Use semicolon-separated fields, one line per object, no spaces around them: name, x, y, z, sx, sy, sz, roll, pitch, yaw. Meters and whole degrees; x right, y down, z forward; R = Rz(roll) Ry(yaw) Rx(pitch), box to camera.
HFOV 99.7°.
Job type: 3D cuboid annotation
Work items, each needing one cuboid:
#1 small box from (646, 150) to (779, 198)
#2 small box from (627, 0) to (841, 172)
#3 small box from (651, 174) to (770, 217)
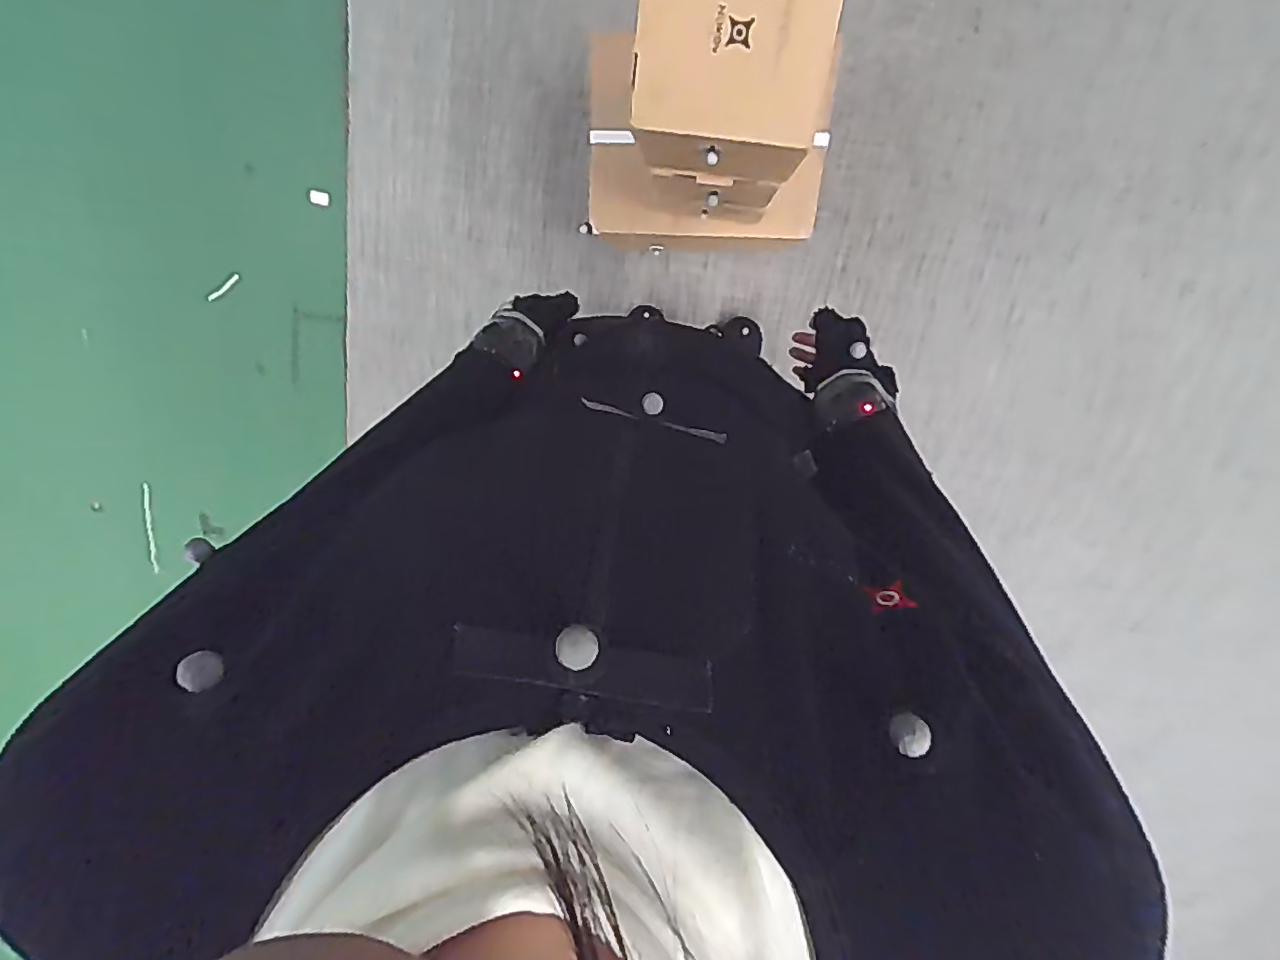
small box;0.107;-0.478;0.701;0.168;0.176;0.179;9;110;4
small box;0.092;-0.426;0.548;0.179;0.176;0.168;9;111;3
small box;0.123;-0.524;0.857;0.179;0.176;0.168;10;110;4
